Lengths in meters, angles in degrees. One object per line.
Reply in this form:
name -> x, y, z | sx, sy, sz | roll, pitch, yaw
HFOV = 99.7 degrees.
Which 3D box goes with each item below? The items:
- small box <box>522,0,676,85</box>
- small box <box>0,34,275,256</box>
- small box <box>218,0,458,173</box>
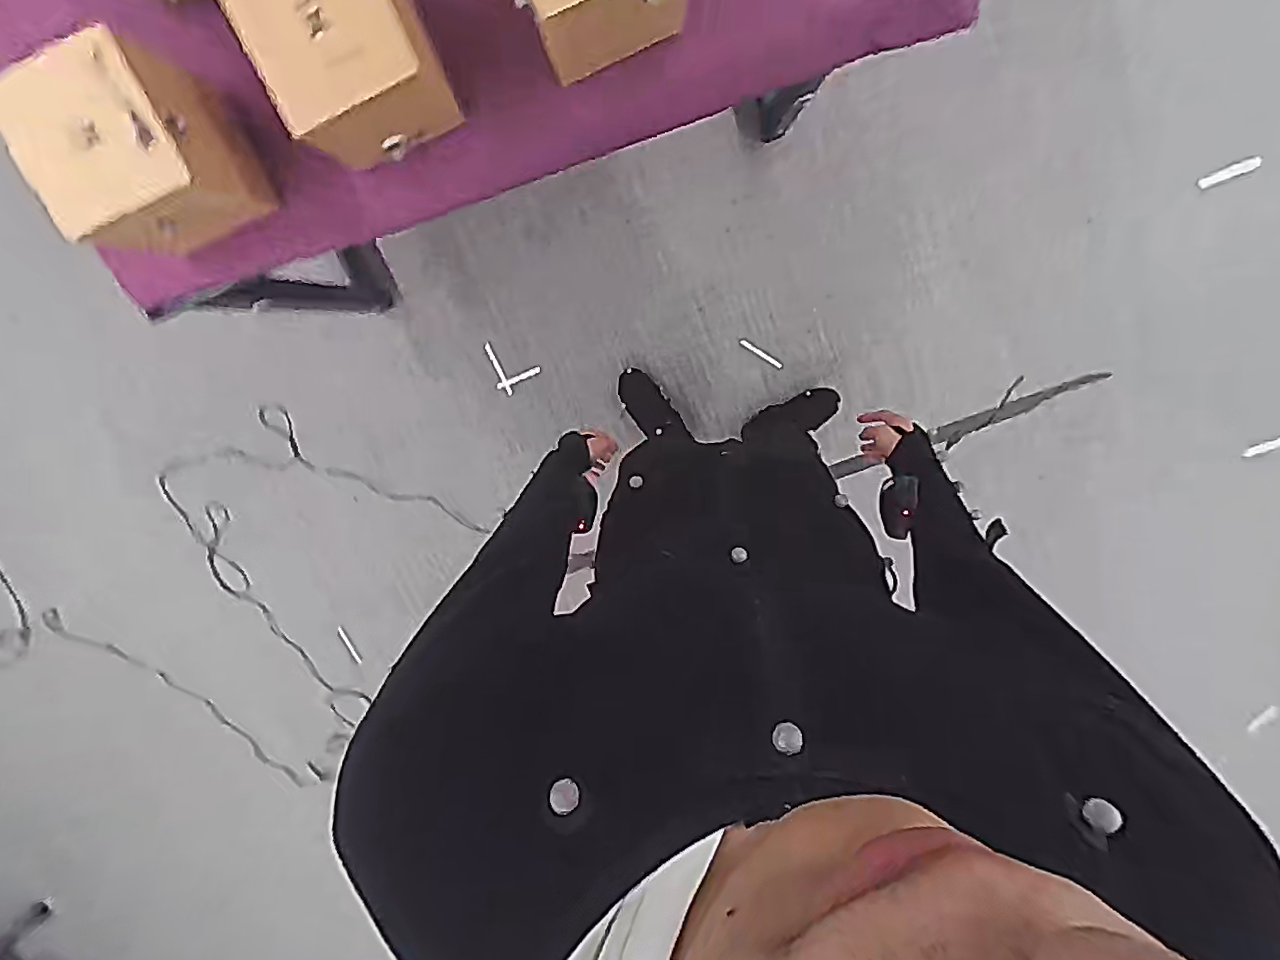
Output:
small box -> -0.062, -0.610, 0.627 | 0.179, 0.176, 0.168 | -21, 104, 7
small box -> -0.627, -0.403, 0.690 | 0.179, 0.176, 0.168 | -21, 106, 7
small box -> -0.353, -0.513, 0.660 | 0.168, 0.176, 0.179 | -22, 107, 7
